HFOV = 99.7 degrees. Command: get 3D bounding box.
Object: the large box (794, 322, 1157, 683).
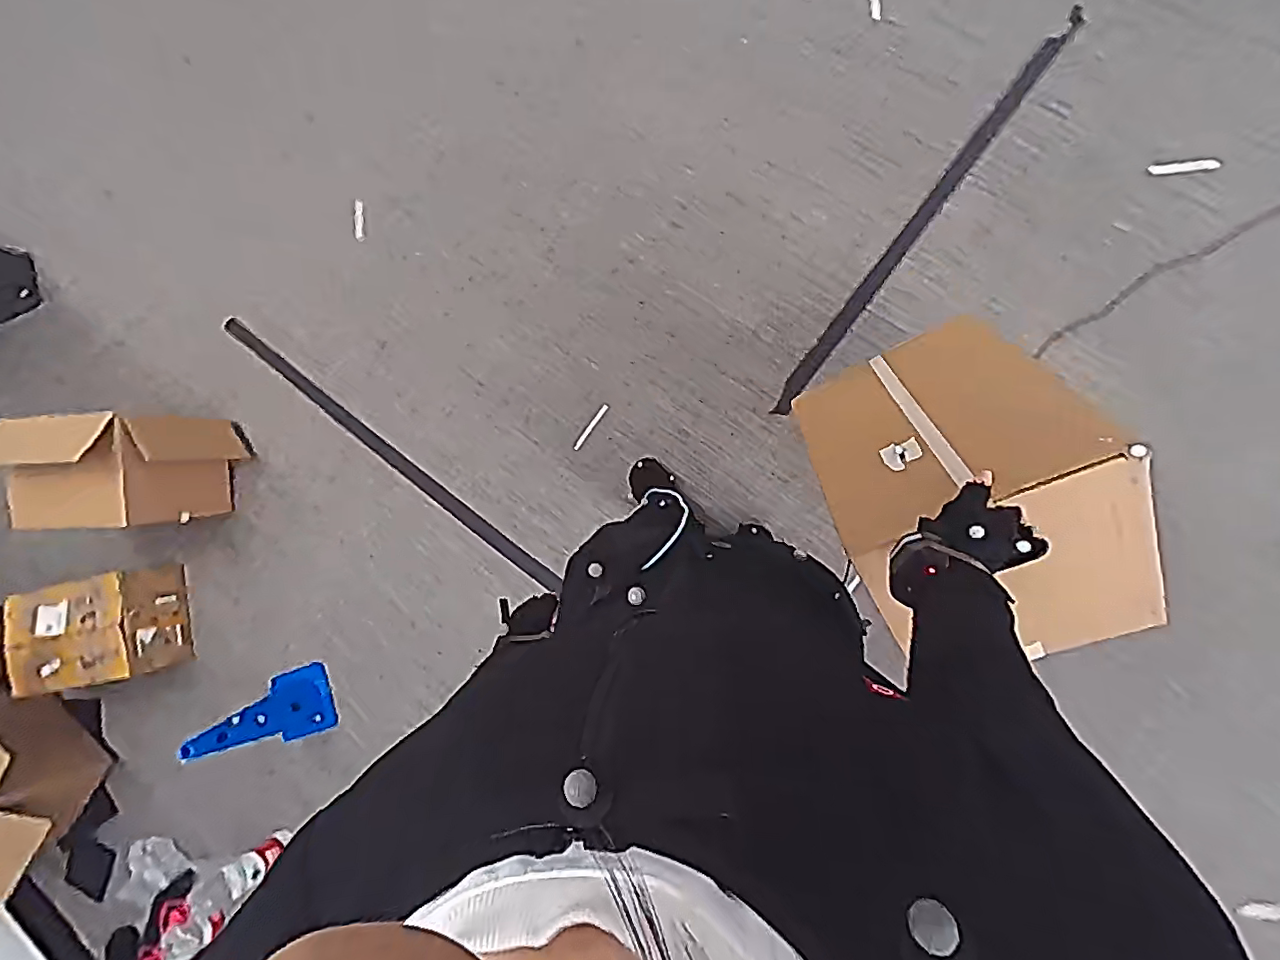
[{"bbox_3d":[0.473,0.026,0.833,0.320,0.408,0.320,-26,121,22],"label":"large box"}]
